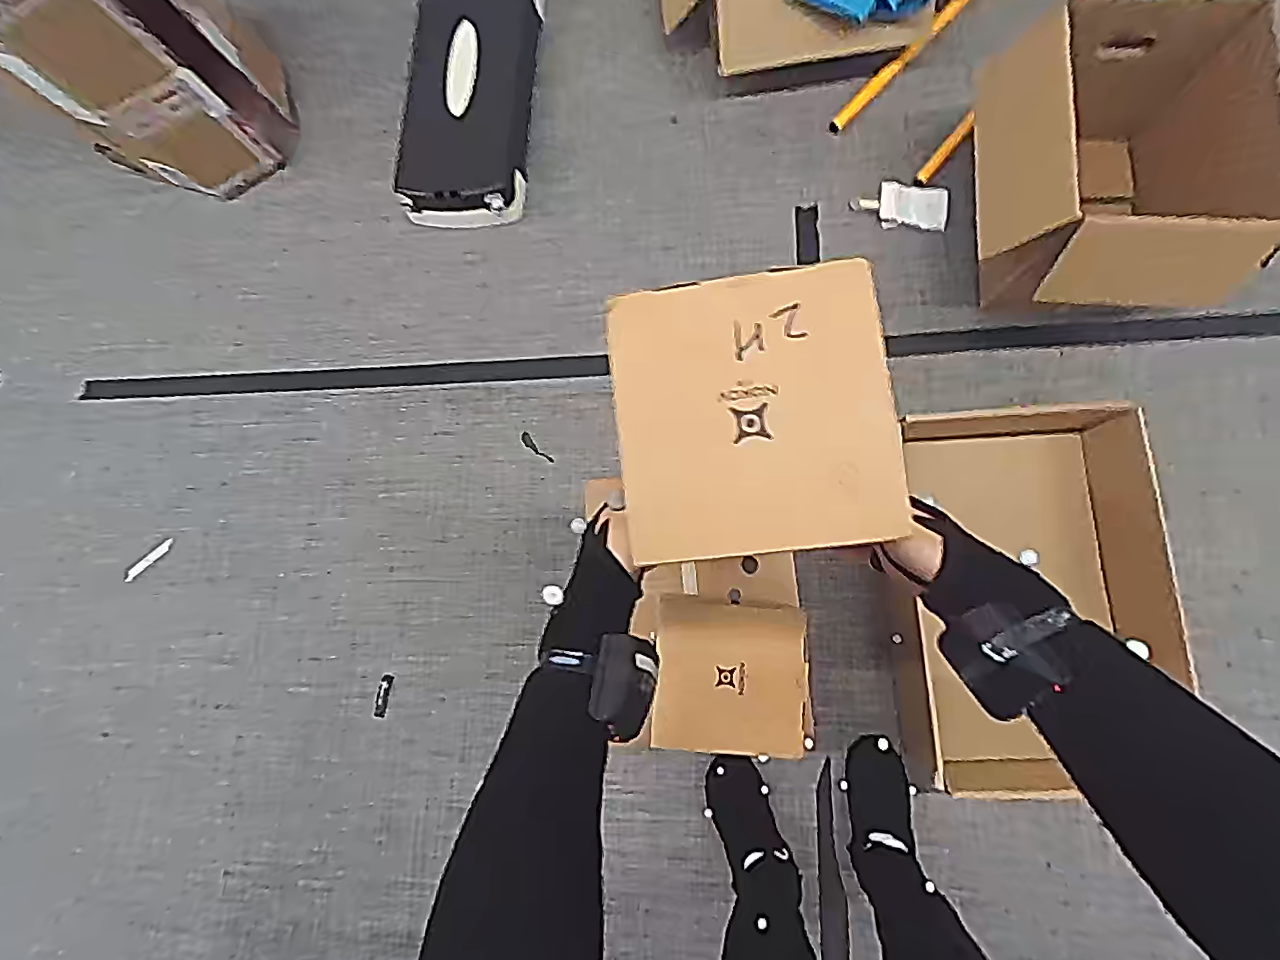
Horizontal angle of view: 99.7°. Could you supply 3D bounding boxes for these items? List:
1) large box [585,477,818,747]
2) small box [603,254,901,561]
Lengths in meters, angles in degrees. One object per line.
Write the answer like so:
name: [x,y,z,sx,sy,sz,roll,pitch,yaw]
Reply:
large box: [0.097,0.199,0.953,0.320,0.320,0.408,-6,81,6]
small box: [0.074,-0.036,0.410,0.168,0.176,0.179,-7,82,6]
